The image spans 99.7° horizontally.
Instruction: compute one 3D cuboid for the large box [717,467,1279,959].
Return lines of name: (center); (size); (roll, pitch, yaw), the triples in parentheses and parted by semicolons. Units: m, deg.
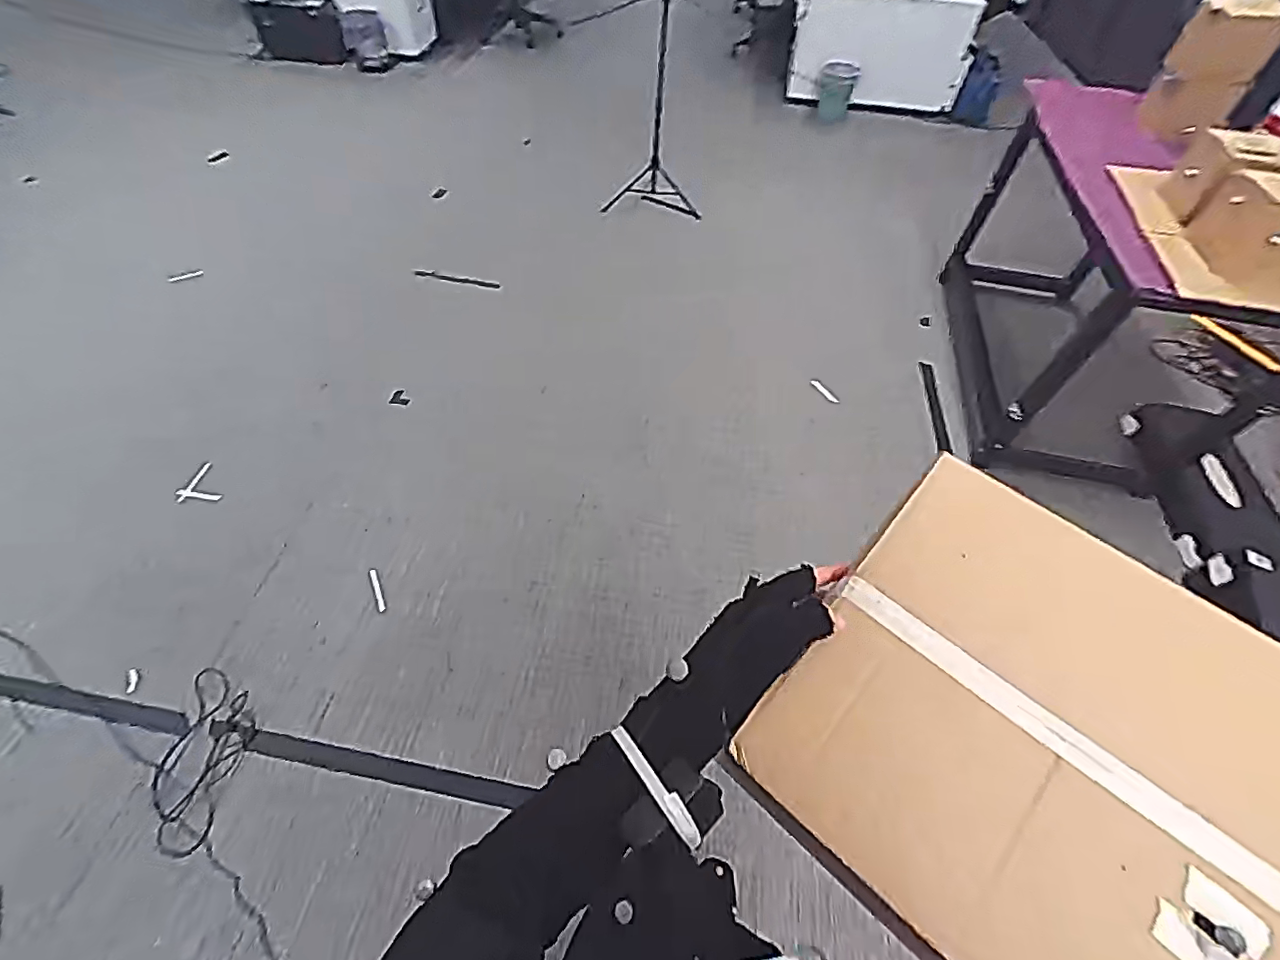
large box: (0.324, 0.266, 0.498); (0.408, 0.320, 0.320); (37, 72, 21)
